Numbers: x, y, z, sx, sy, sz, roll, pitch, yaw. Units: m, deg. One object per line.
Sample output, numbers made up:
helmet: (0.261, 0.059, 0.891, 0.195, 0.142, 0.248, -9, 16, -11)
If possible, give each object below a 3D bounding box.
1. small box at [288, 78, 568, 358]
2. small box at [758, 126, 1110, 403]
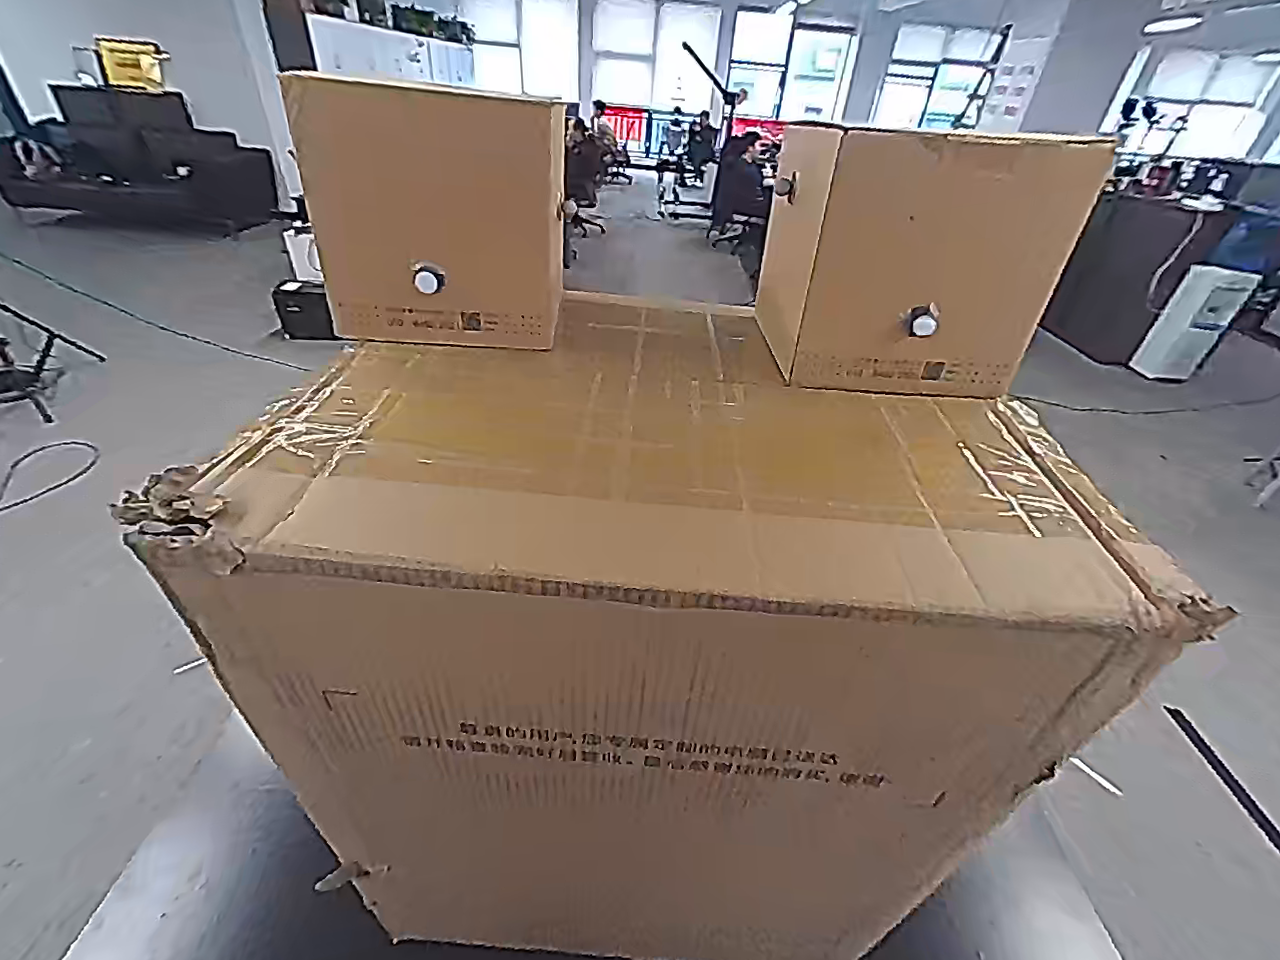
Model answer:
small box: (-0.148, -0.216, 0.449, 0.168, 0.176, 0.179, 2, 35, -6)
small box: (0.199, -0.178, 0.436, 0.168, 0.176, 0.179, 3, 34, 0)
